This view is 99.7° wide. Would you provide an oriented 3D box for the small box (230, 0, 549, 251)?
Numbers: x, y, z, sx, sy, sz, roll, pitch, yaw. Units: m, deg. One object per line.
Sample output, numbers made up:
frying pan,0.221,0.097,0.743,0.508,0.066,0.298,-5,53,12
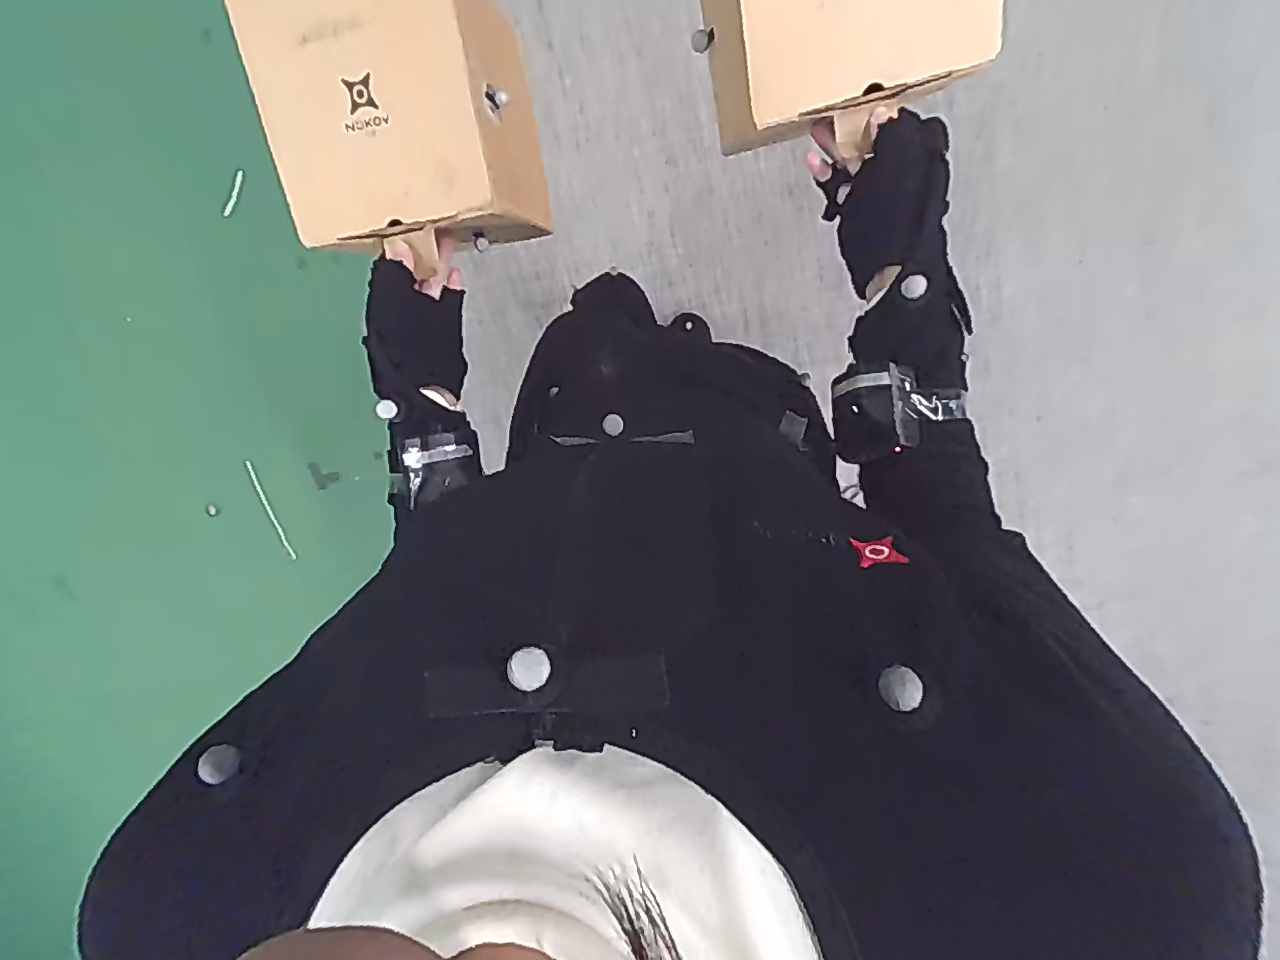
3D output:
small box,-0.191,-0.306,0.470,0.168,0.176,0.179,-7,106,9
